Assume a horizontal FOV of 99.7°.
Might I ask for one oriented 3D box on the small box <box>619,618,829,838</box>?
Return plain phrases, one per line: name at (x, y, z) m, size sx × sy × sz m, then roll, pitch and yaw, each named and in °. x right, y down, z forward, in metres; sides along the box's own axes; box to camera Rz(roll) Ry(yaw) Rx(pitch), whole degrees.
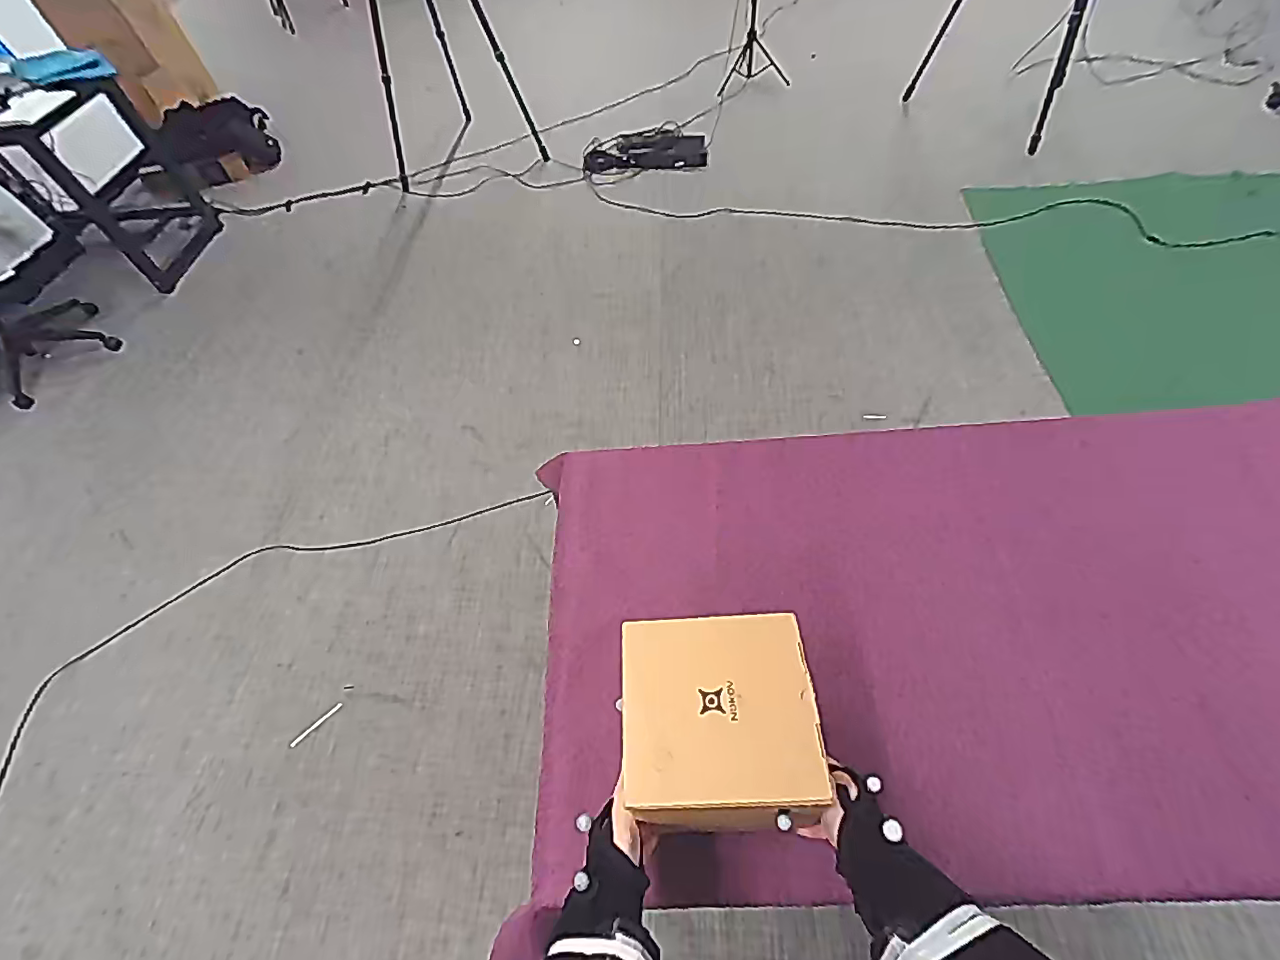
small box at (0.076, 0.258, 0.555) m, size 0.179 × 0.176 × 0.168 m, roll -5°, pitch 50°, yaw 3°
